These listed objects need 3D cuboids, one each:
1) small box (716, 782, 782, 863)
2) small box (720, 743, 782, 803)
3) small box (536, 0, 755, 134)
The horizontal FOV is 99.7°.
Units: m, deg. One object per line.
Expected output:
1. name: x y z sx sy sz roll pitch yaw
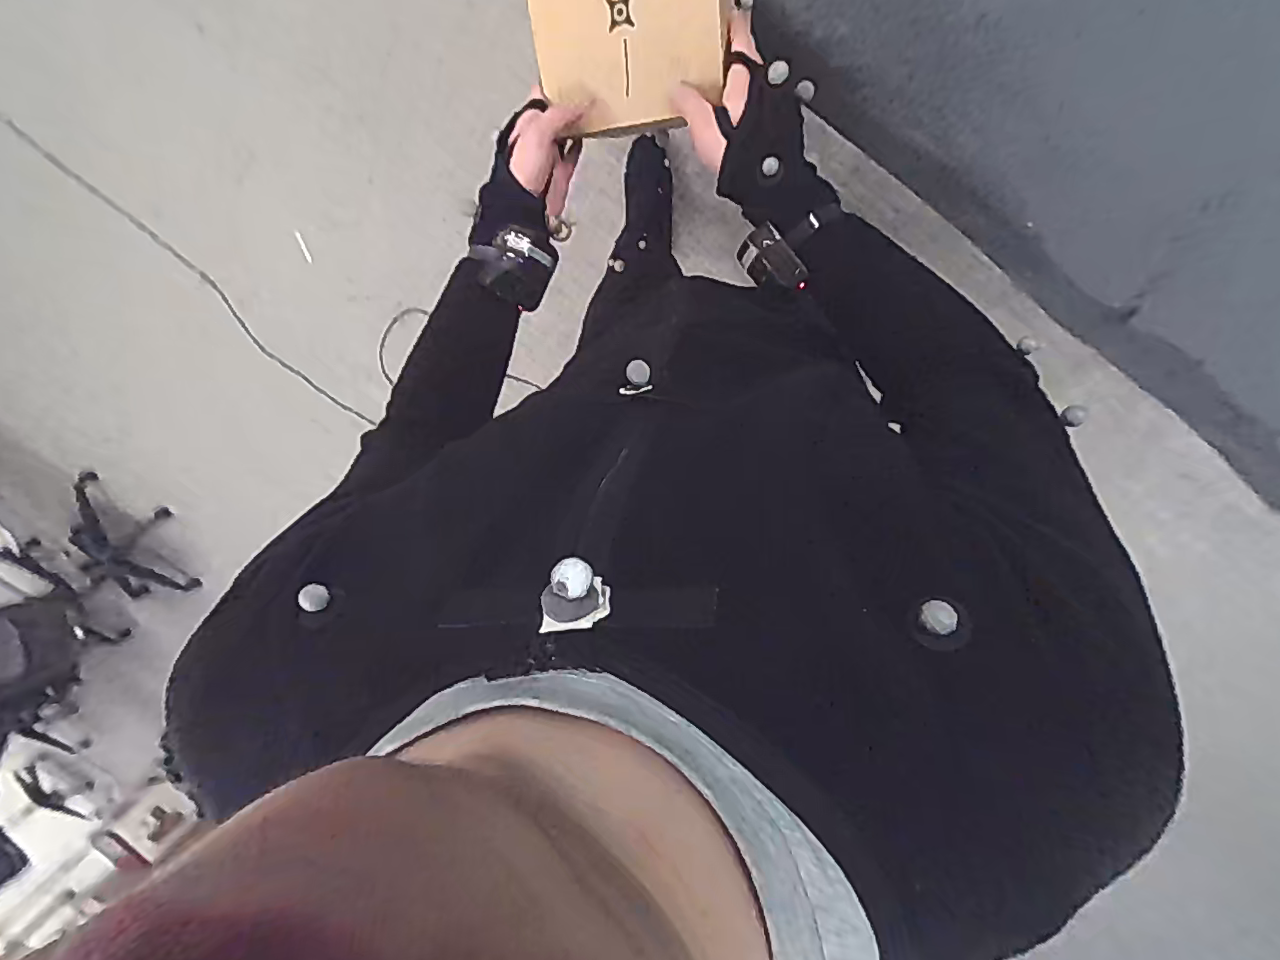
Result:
1. small box: 0.398 1.241 1.969 0.168 0.176 0.179 36 121 -4
2. small box: 0.432 1.170 2.111 0.168 0.176 0.179 34 119 -4
3. small box: 0.013 -0.435 0.506 0.168 0.176 0.179 4 123 18
